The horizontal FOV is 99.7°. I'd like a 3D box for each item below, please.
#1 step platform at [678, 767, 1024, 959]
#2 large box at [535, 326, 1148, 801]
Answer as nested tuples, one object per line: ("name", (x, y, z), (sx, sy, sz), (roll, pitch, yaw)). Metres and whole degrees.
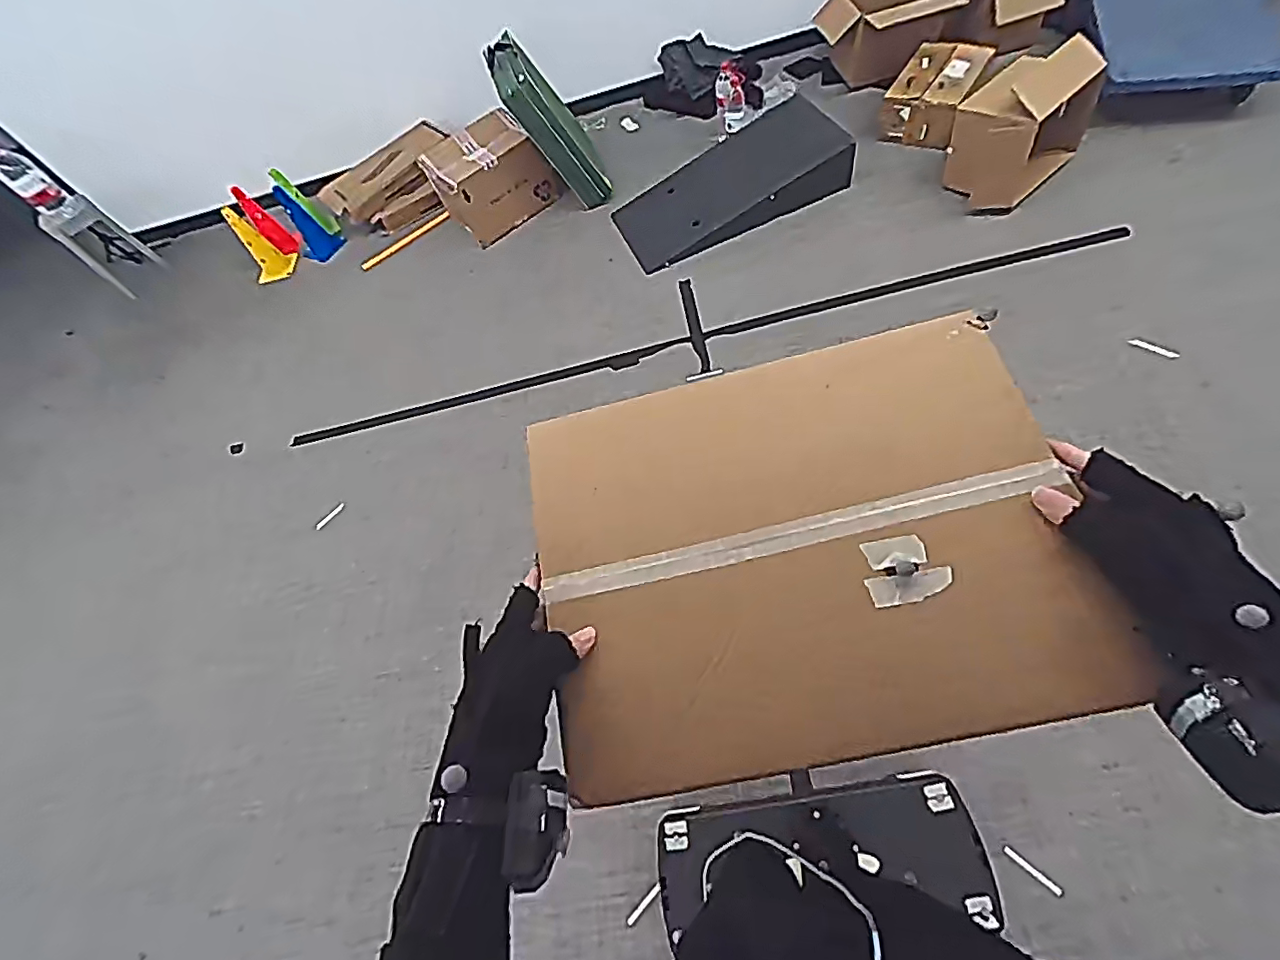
("step platform", (0.426, 0.842, 1.191), (0.684, 0.204, 0.286), (-13, 59, 5))
("large box", (0.145, 0.104, 0.569), (0.408, 0.320, 0.320), (-14, 67, 5))
